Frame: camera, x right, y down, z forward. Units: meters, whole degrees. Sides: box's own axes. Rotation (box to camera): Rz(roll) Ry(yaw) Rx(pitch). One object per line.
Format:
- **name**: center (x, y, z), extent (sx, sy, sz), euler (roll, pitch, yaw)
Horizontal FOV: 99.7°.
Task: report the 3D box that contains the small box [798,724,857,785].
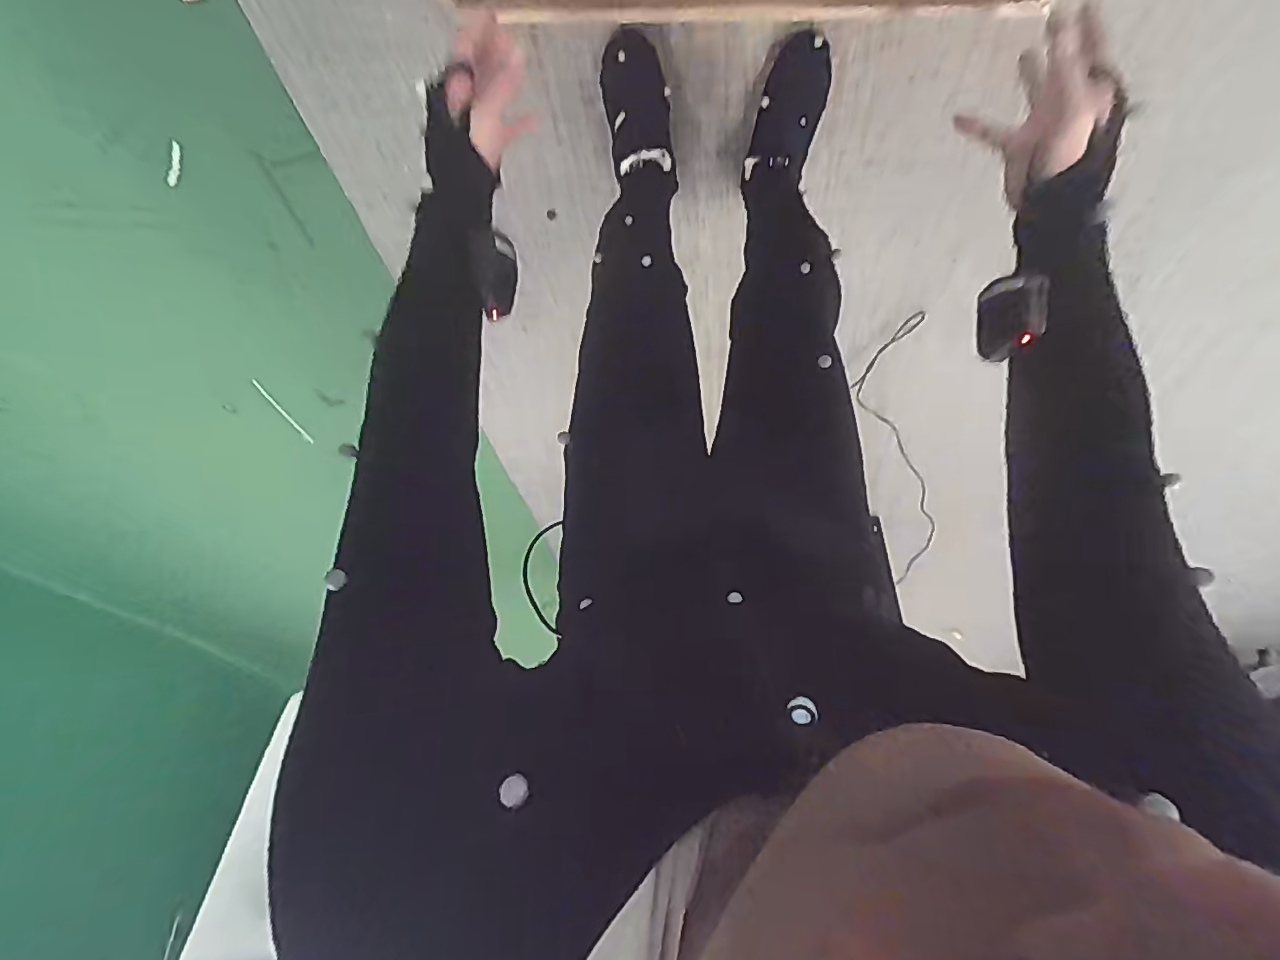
- **small box**: center (0.633, 0.943, 1.841), extent (0.168, 0.176, 0.179), euler (-5, 143, 13)
